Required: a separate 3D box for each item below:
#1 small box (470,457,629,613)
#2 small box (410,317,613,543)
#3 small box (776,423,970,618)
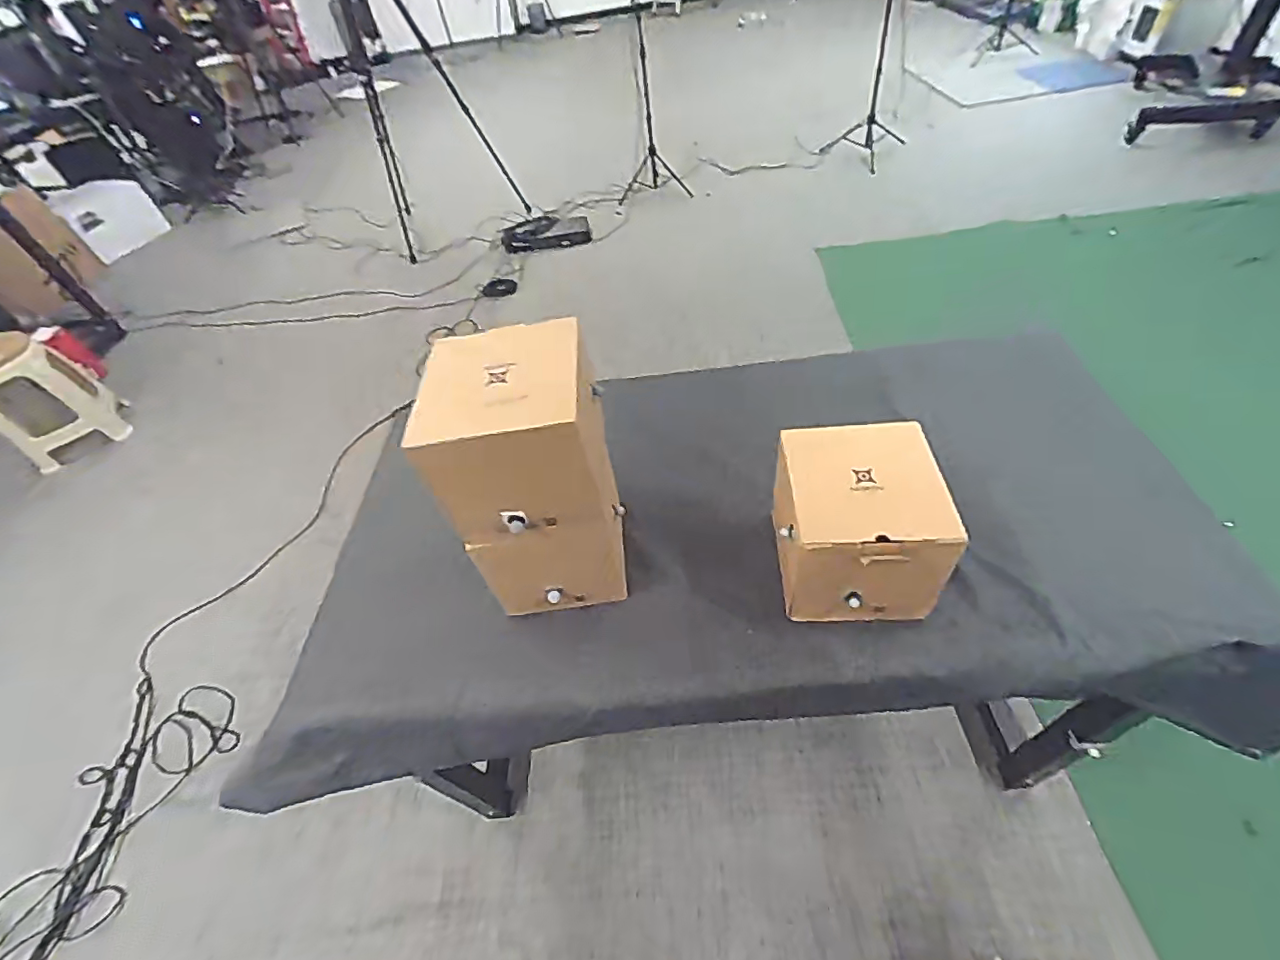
[{"bbox_3d":[-0.110,0.054,0.727,0.168,0.176,0.179,-9,48,2],"label":"small box"},{"bbox_3d":[-0.127,-0.053,0.607,0.168,0.176,0.179,-9,49,3],"label":"small box"},{"bbox_3d":[0.265,0.052,0.667,0.168,0.176,0.179,-3,48,7],"label":"small box"}]
